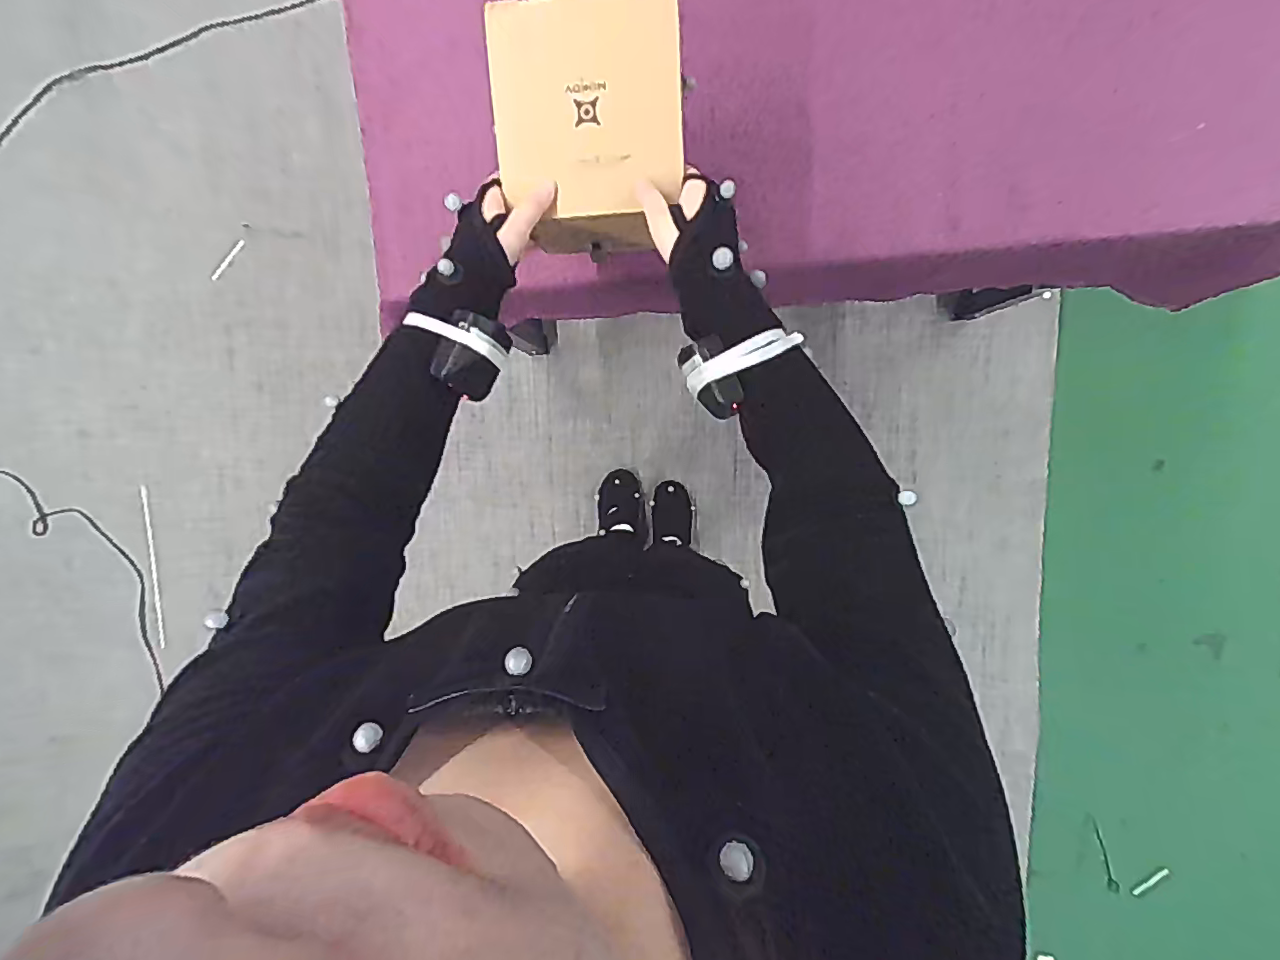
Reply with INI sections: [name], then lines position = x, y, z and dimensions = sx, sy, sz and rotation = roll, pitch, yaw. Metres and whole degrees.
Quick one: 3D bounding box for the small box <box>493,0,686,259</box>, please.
[small box]
position = -0.037, -0.336, 0.551
dimensions = 0.168, 0.176, 0.179
rotation = -1, 103, 5
